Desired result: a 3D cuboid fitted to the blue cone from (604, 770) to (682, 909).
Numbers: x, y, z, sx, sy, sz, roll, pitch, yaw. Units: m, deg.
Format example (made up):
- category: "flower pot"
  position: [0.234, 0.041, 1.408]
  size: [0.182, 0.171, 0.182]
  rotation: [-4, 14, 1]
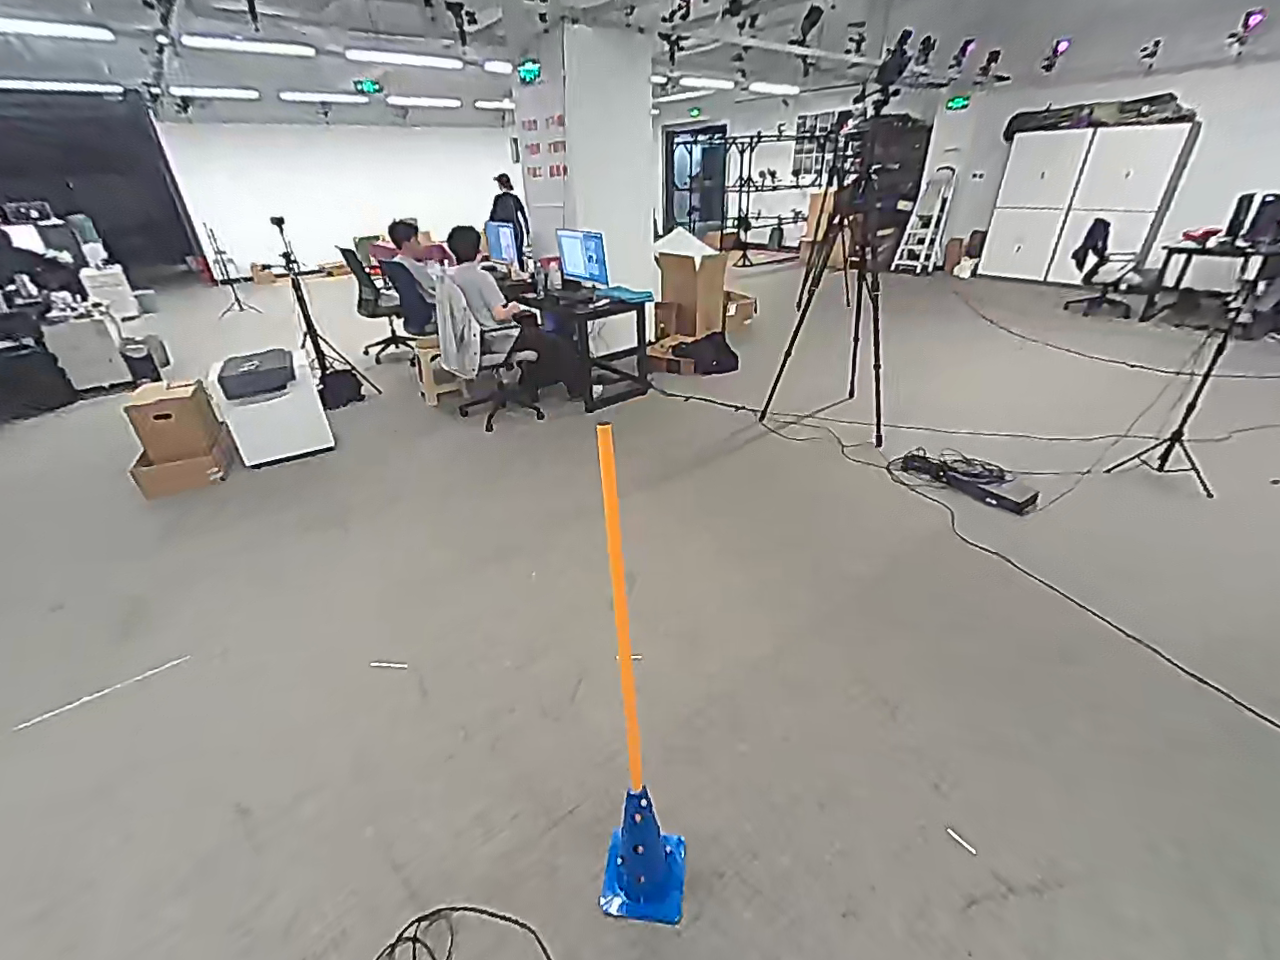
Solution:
- category: "blue cone"
  position: [0.003, 0.827, 1.289]
  size: [0.192, 0.380, 0.193]
  rotation: [1, 28, 6]
